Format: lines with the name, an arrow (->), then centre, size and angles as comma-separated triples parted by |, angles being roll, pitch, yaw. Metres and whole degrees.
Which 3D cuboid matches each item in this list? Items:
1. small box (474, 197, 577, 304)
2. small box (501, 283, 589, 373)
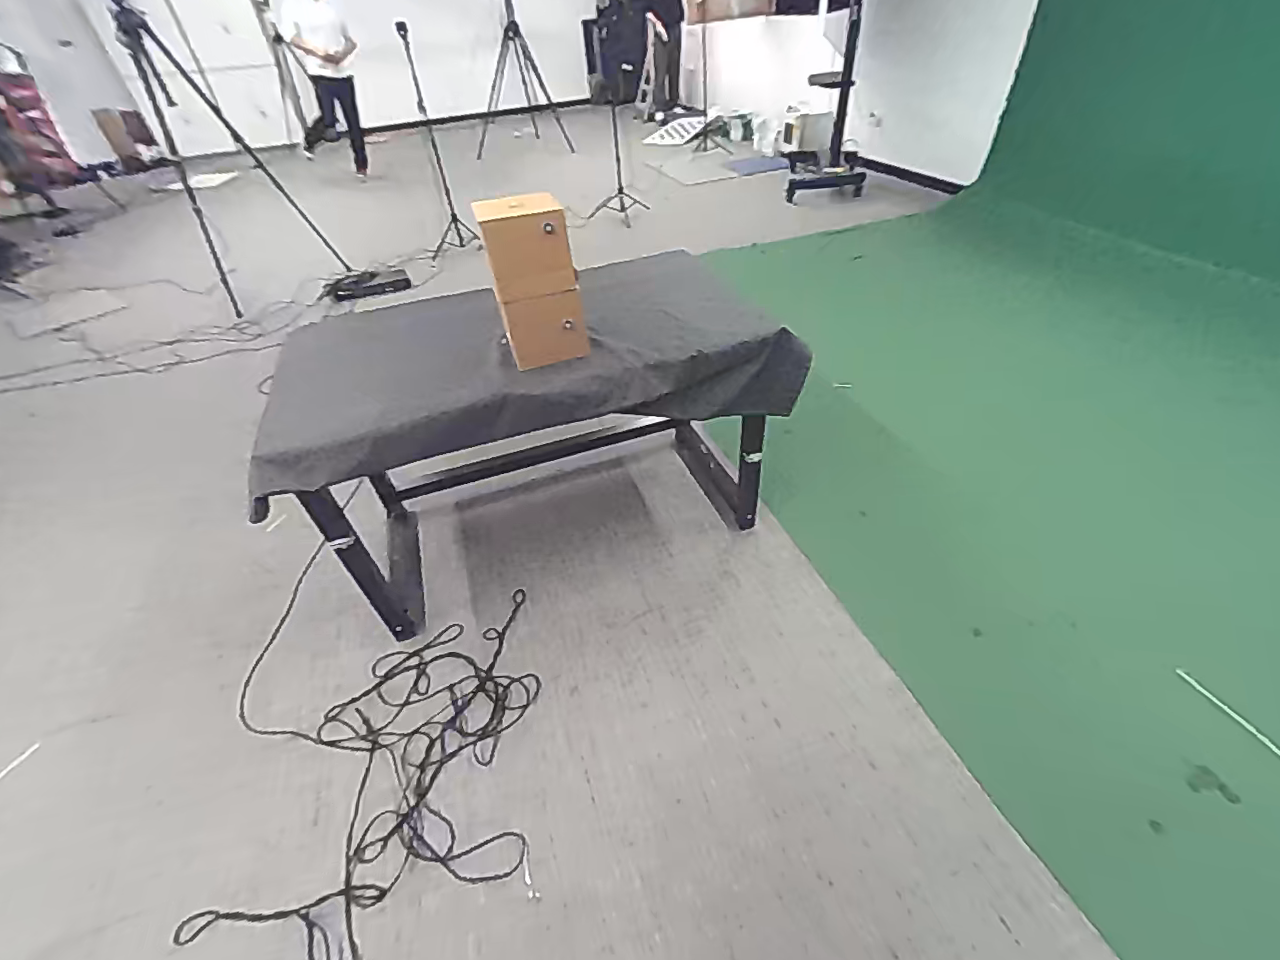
small box -> -0.248, -0.499, 1.180 | 0.179, 0.176, 0.168 | -15, 41, -11
small box -> -0.227, -0.377, 1.286 | 0.179, 0.176, 0.168 | -17, 41, -12
